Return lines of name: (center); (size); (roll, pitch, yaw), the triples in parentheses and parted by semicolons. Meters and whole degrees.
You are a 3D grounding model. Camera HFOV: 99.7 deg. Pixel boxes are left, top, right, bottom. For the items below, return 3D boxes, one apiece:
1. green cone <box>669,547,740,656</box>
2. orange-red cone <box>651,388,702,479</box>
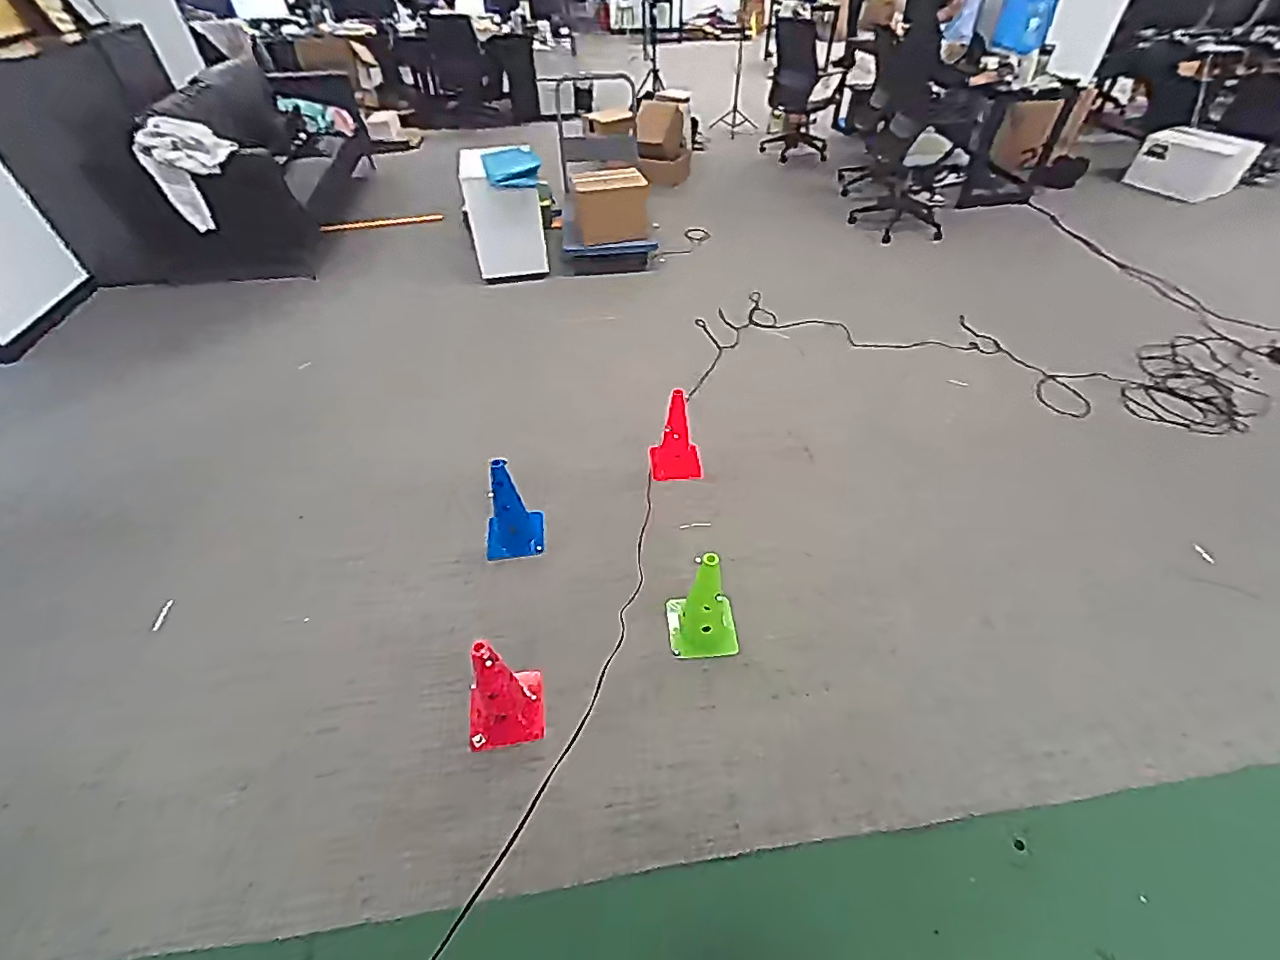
green cone: (0.196, 0.323, 1.546); (0.200, 0.368, 0.202); (-4, 45, -3)
orange-red cone: (0.141, -0.195, 2.059); (0.198, 0.360, 0.199); (-4, 47, -1)
